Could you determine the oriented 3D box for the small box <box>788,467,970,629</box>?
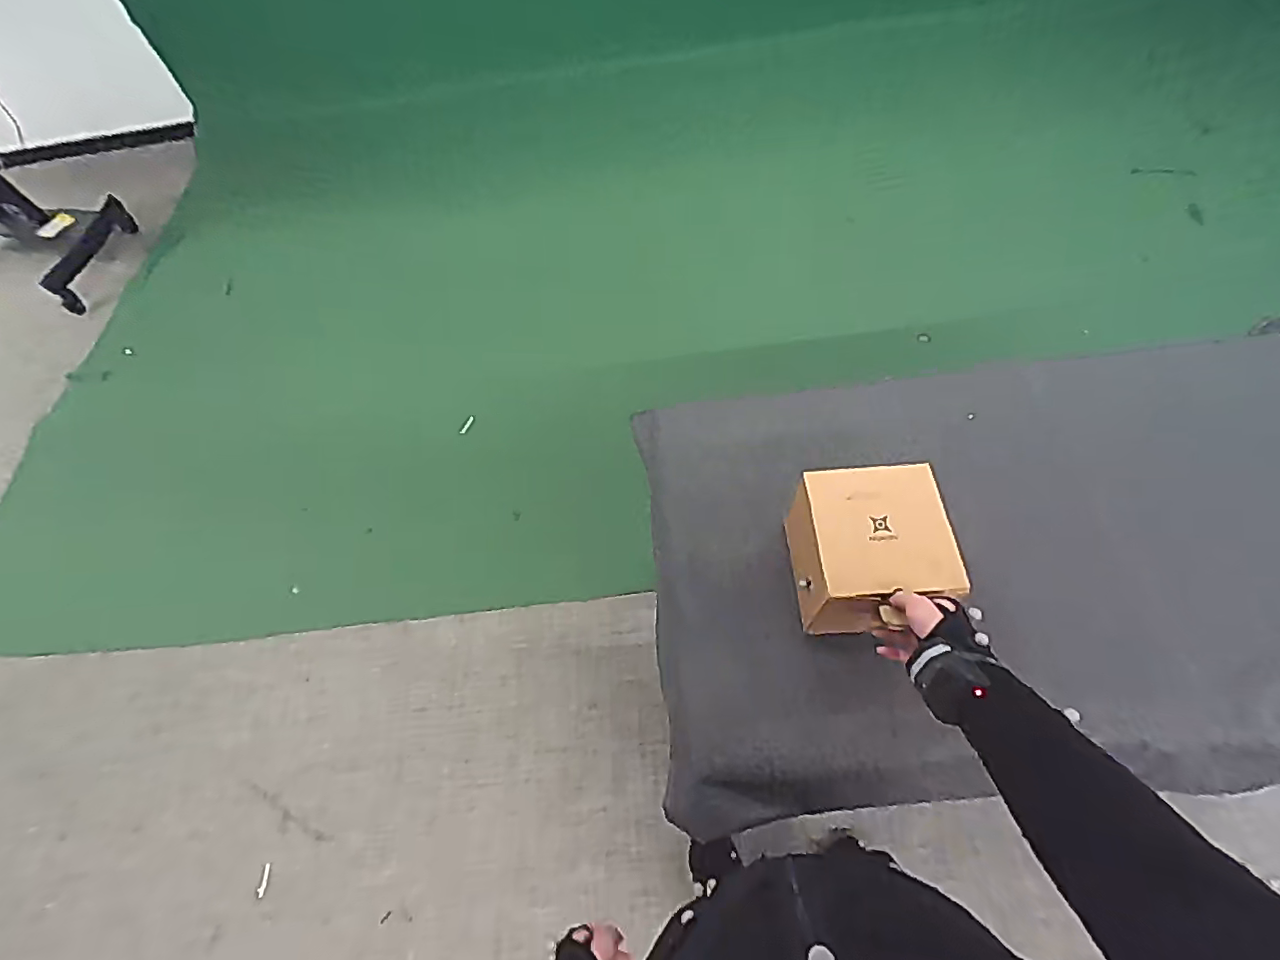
[{"bbox_3d":[0.310,0.102,0.747,0.168,0.176,0.179,-4,60,2],"label":"small box"}]
